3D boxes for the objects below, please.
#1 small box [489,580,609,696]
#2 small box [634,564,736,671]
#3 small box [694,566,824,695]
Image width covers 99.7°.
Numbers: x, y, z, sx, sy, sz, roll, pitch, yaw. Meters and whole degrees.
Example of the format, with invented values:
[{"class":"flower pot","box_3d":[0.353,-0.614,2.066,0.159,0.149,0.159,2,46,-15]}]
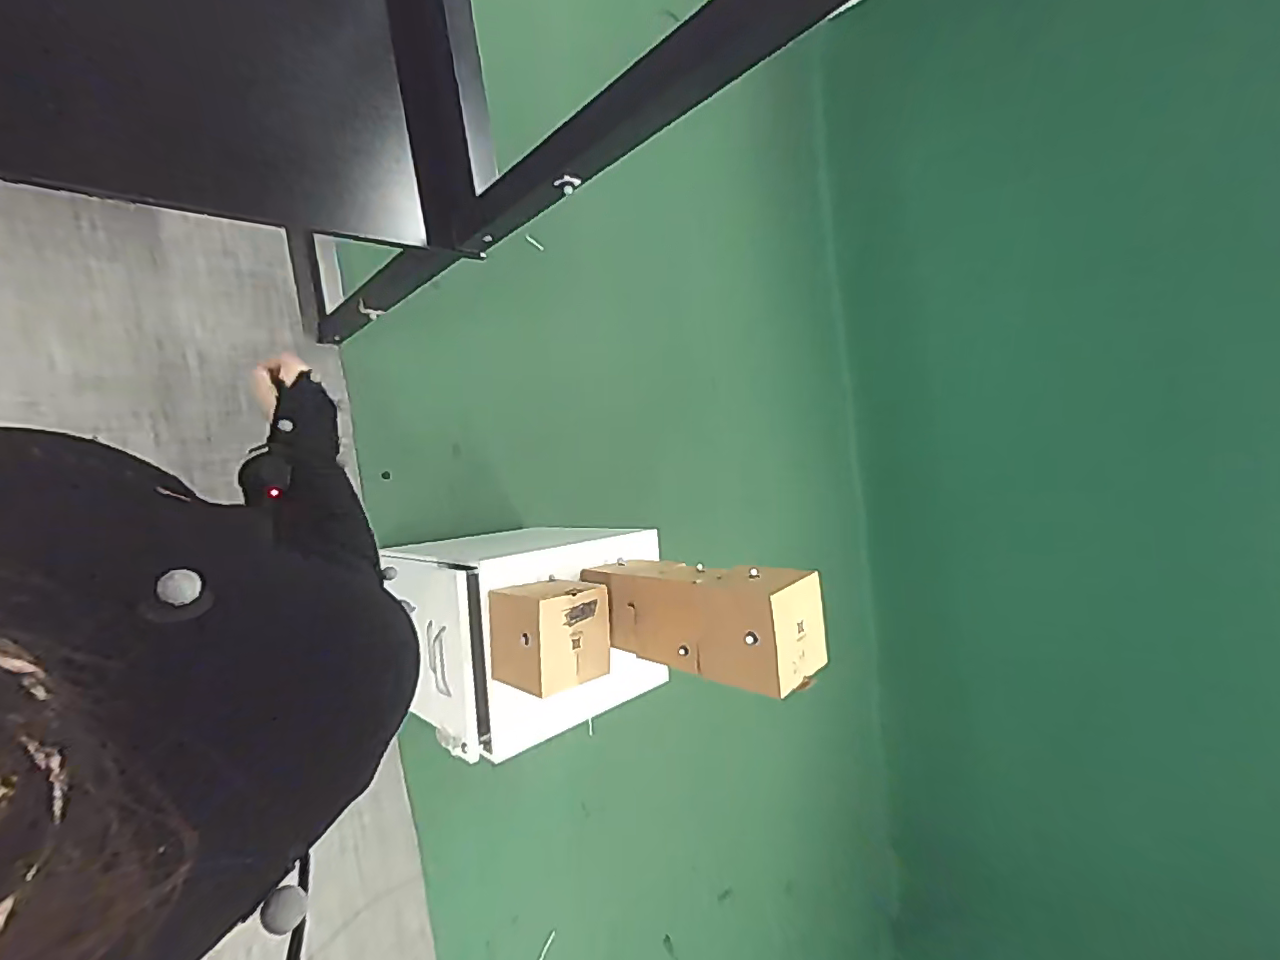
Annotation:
[{"class":"small box","box_3d":[-0.178,0.291,1.045,0.168,0.176,0.179,-1,89,-47]},{"class":"small box","box_3d":[0.099,0.268,1.100,0.168,0.176,0.179,0,89,-46]},{"class":"small box","box_3d":[0.212,0.258,0.981,0.168,0.176,0.179,-10,96,-45]}]
